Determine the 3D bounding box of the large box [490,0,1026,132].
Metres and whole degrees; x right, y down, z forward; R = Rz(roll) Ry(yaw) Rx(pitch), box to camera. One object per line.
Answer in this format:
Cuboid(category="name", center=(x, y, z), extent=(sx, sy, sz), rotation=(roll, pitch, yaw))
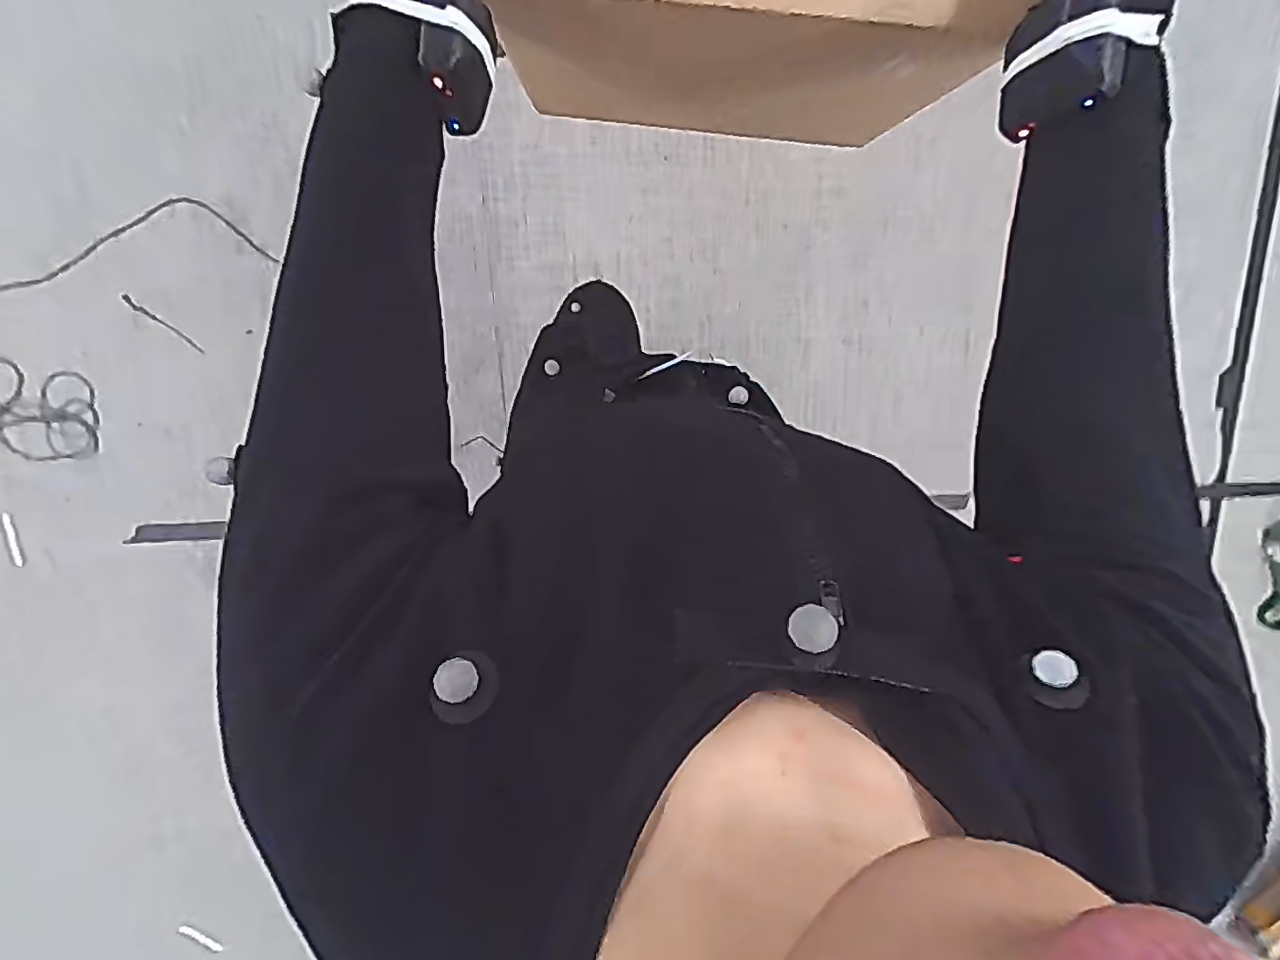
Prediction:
Cuboid(category="large box", center=(0.083, -0.534, 0.474), extent=(0.408, 0.320, 0.320), rotation=(3, 110, -3))
